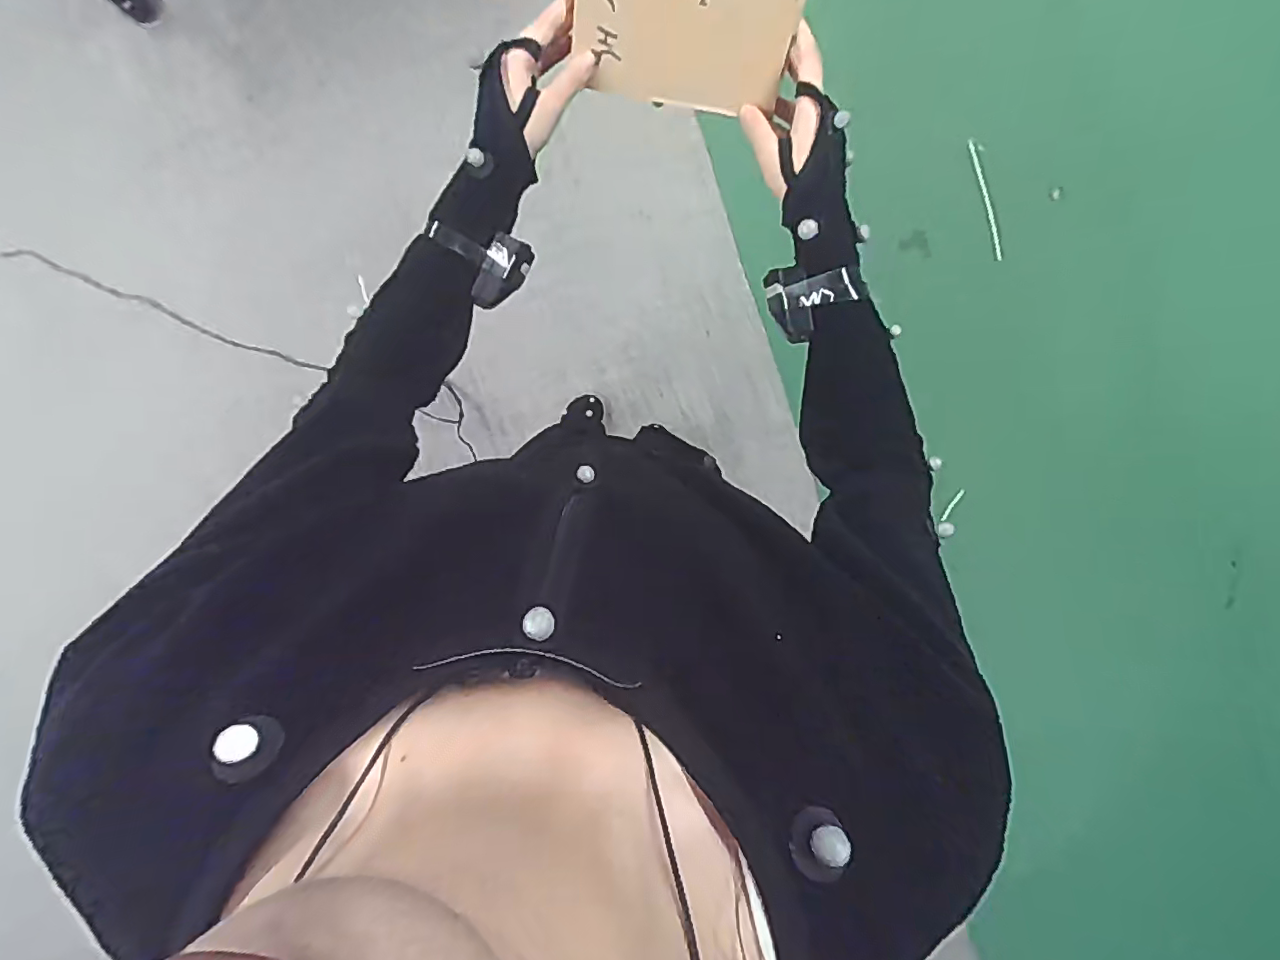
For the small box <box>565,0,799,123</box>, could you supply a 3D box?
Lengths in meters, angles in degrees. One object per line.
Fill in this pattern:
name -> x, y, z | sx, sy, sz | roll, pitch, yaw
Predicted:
small box -> 0.030, -0.424, 0.458 | 0.179, 0.176, 0.168 | 4, 130, -9
